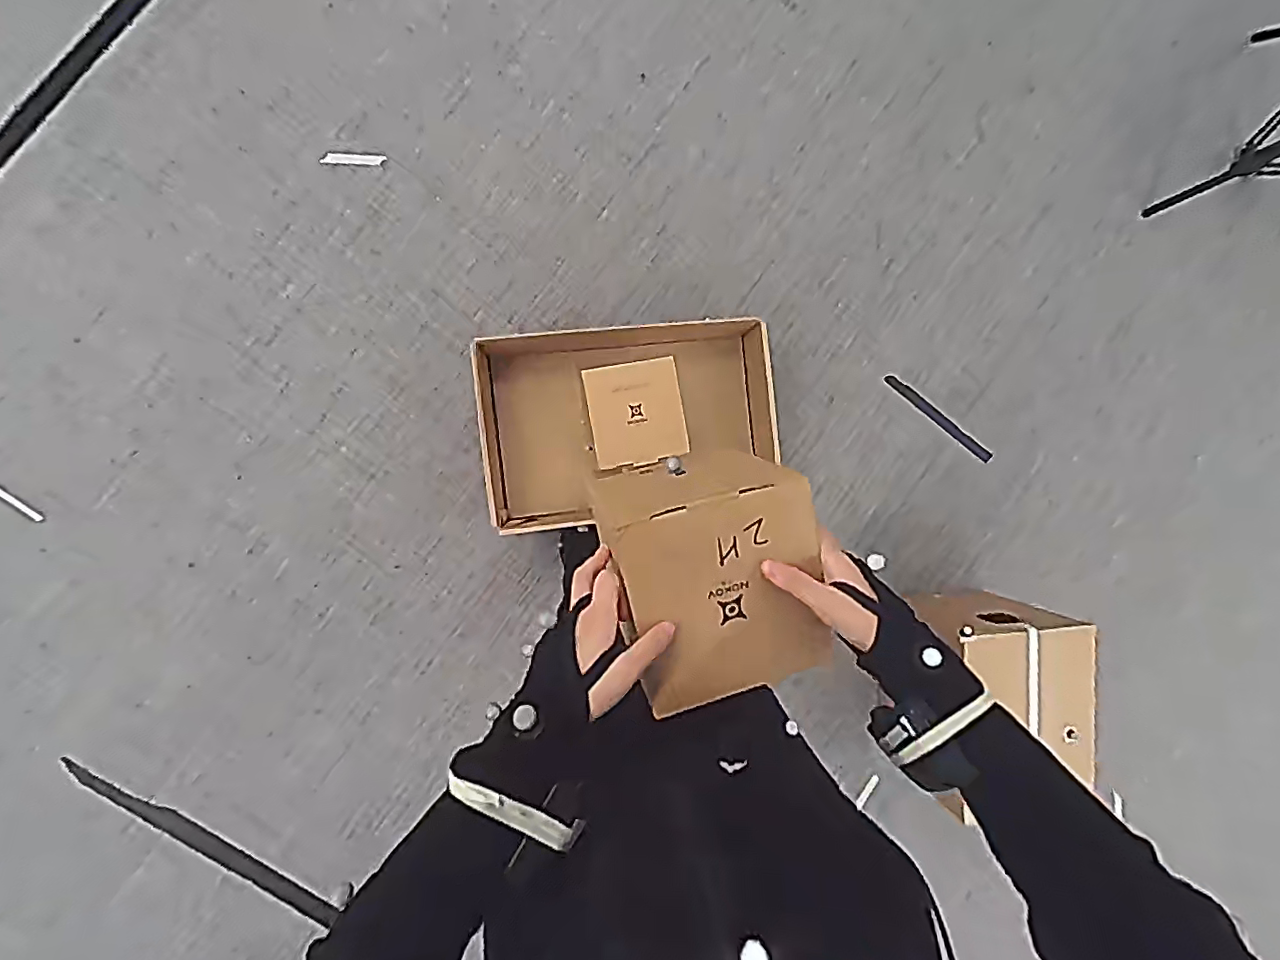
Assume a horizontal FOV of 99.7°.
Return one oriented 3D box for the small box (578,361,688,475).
[{"bbox_3d":[-0.020,-0.110,1.011,0.168,0.176,0.179,-11,92,-9],"label":"small box"}]
